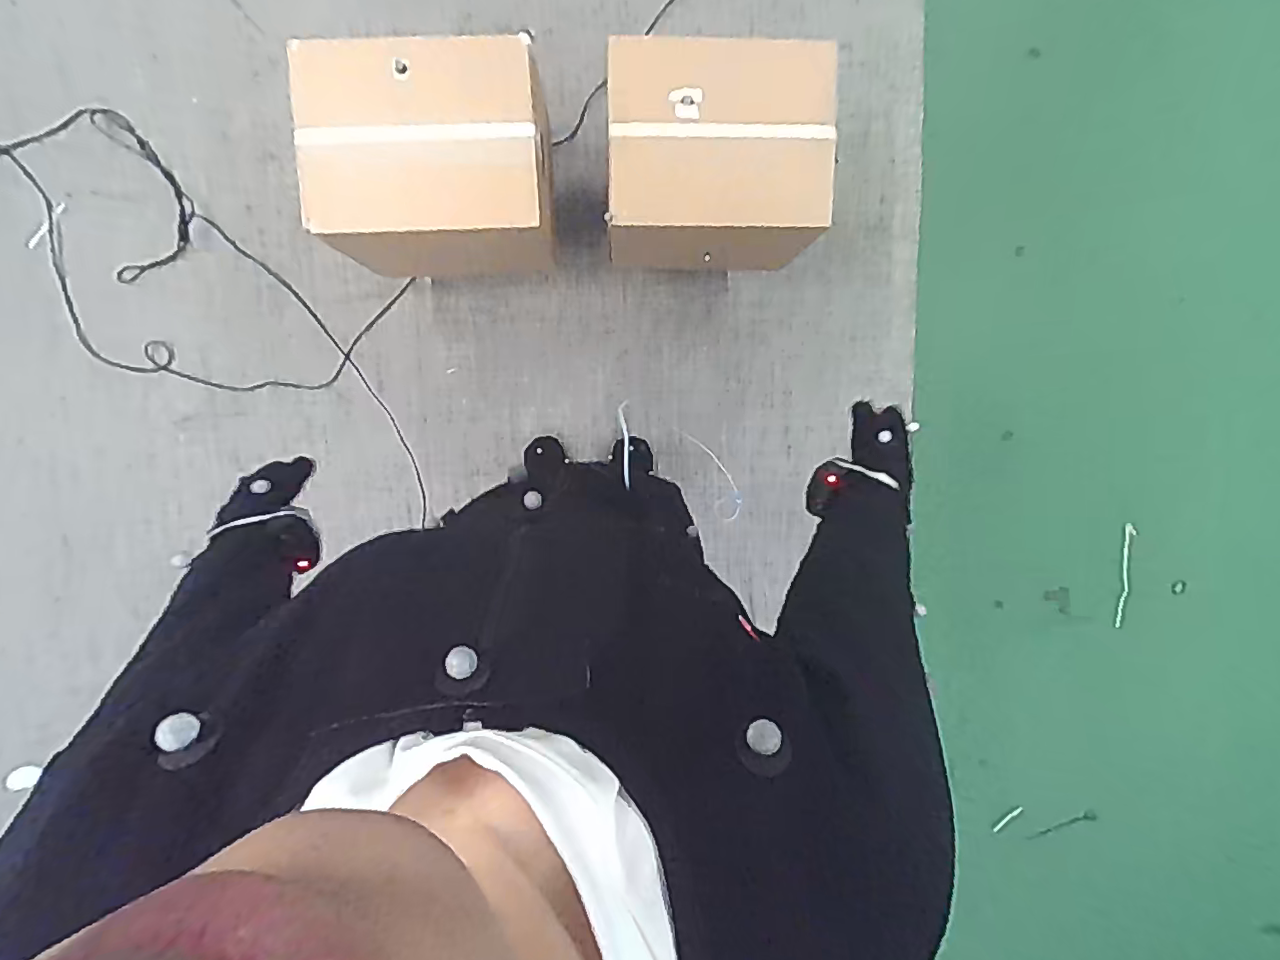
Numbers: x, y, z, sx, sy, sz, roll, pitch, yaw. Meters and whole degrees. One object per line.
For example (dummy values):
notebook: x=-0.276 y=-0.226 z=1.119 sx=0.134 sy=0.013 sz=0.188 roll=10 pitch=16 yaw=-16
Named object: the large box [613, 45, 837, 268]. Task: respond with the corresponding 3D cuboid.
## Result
large box: x=0.149 y=-0.632 z=1.116 sx=0.408 sy=0.320 sz=0.320 roll=0 pitch=97 yaw=-2
